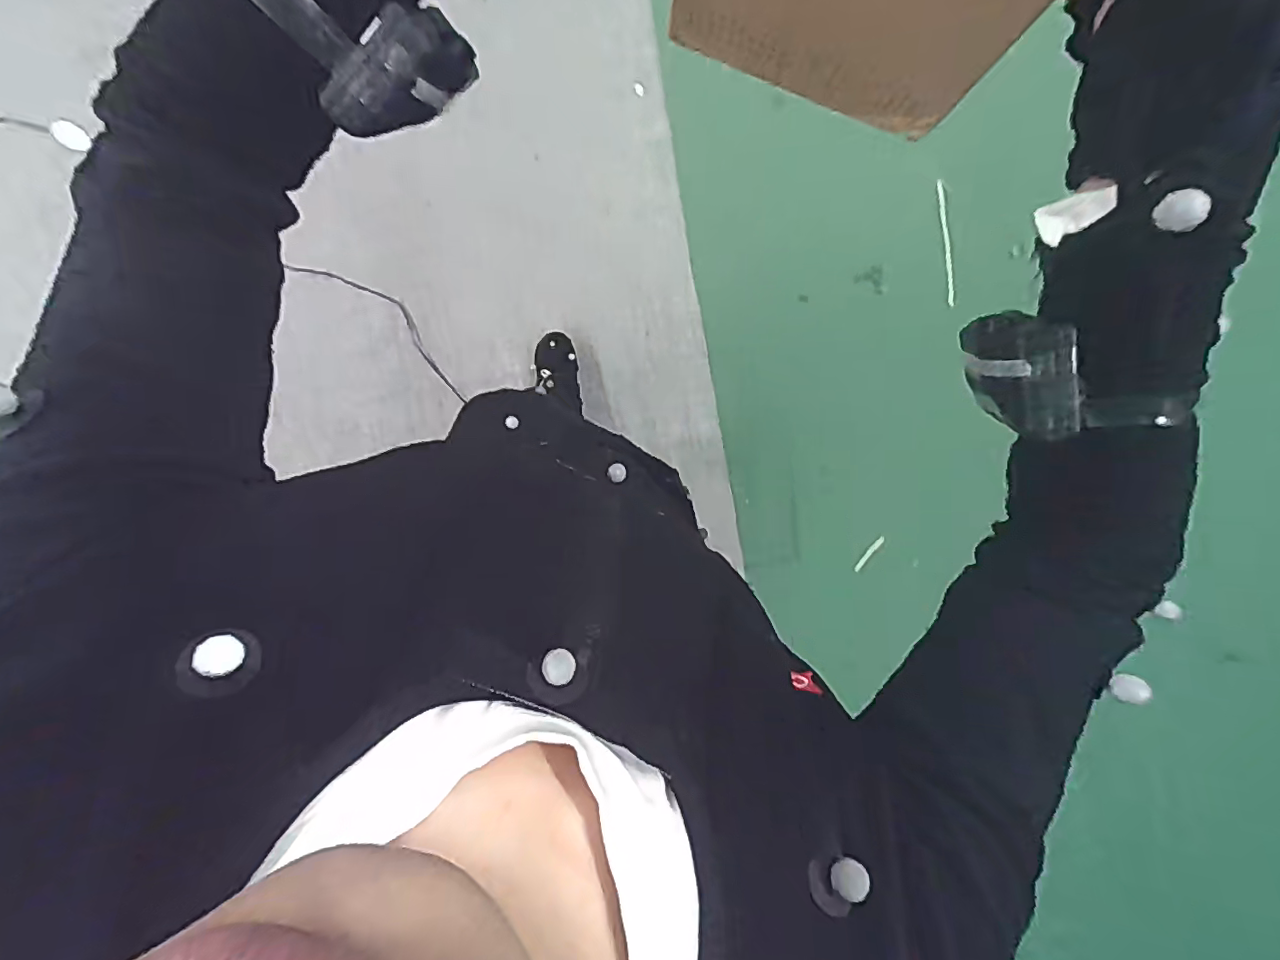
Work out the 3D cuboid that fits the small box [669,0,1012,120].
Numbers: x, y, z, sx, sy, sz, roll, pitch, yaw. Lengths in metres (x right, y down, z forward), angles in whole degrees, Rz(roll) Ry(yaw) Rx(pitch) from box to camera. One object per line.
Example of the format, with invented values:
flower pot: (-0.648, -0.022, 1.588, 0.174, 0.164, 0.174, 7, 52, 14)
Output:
small box: (0.124, -0.325, 0.265, 0.179, 0.176, 0.168, 19, 91, -4)
